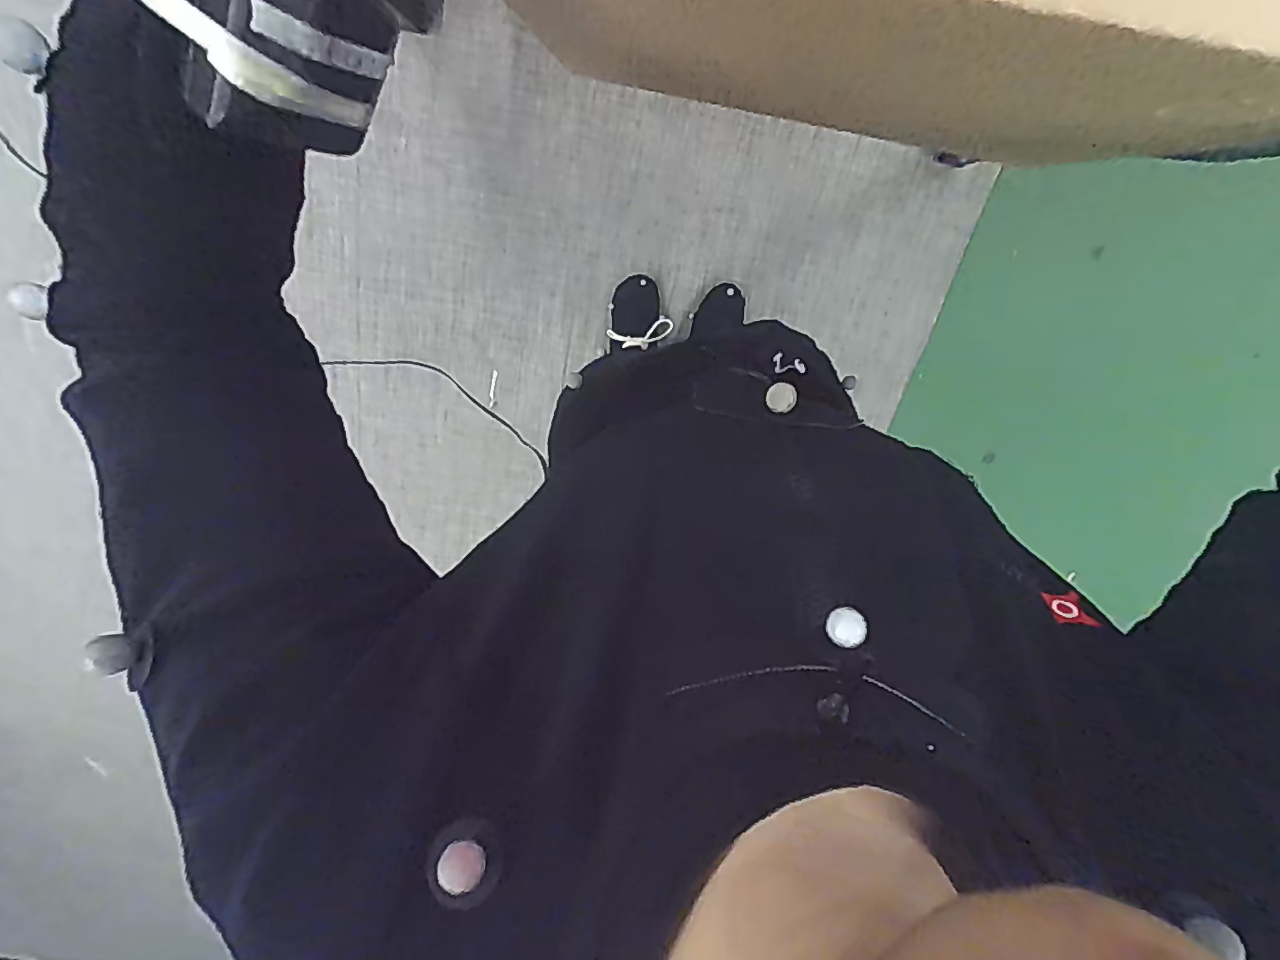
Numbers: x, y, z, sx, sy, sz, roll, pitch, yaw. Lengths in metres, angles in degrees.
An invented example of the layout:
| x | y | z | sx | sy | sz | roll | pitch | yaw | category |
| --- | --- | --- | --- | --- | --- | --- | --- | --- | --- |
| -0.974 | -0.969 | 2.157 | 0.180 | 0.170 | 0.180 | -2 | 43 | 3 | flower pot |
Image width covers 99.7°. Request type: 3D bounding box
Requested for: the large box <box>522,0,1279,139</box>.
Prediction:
| x | y | z | sx | sy | sz | roll | pitch | yaw | category |
| --- | --- | --- | --- | --- | --- | --- | --- | --- | --- |
| 0.144 | -0.378 | 0.246 | 0.408 | 0.320 | 0.320 | 9 | 118 | -1 | large box |
